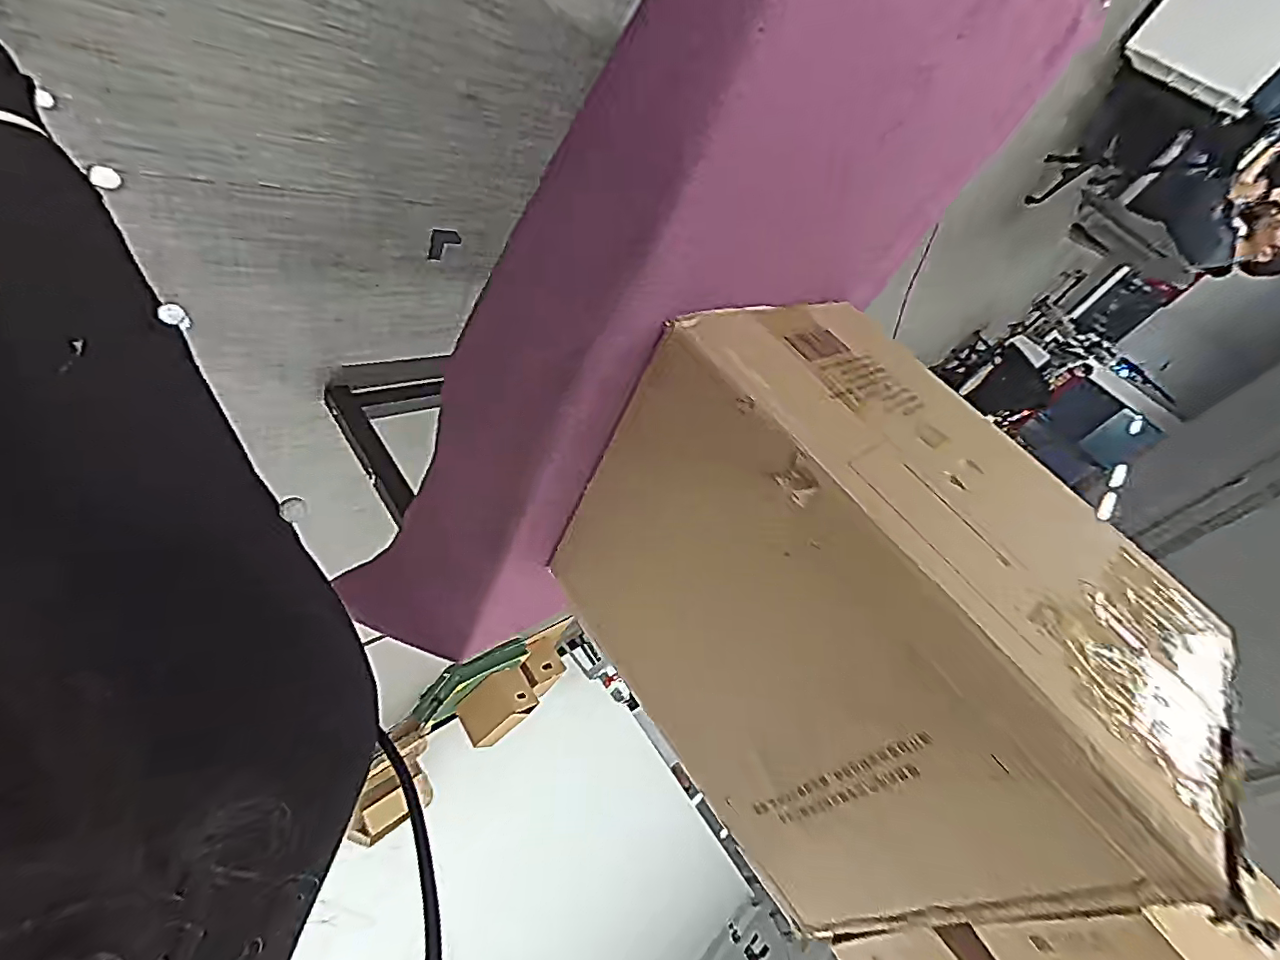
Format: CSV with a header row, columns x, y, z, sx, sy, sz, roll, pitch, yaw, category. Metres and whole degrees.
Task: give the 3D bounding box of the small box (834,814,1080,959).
x,y,z,sx,sy,sz,roll,pitch,yaw,category
0.364,0.543,0.636,0.179,0.176,0.168,-19,152,-46,small box
